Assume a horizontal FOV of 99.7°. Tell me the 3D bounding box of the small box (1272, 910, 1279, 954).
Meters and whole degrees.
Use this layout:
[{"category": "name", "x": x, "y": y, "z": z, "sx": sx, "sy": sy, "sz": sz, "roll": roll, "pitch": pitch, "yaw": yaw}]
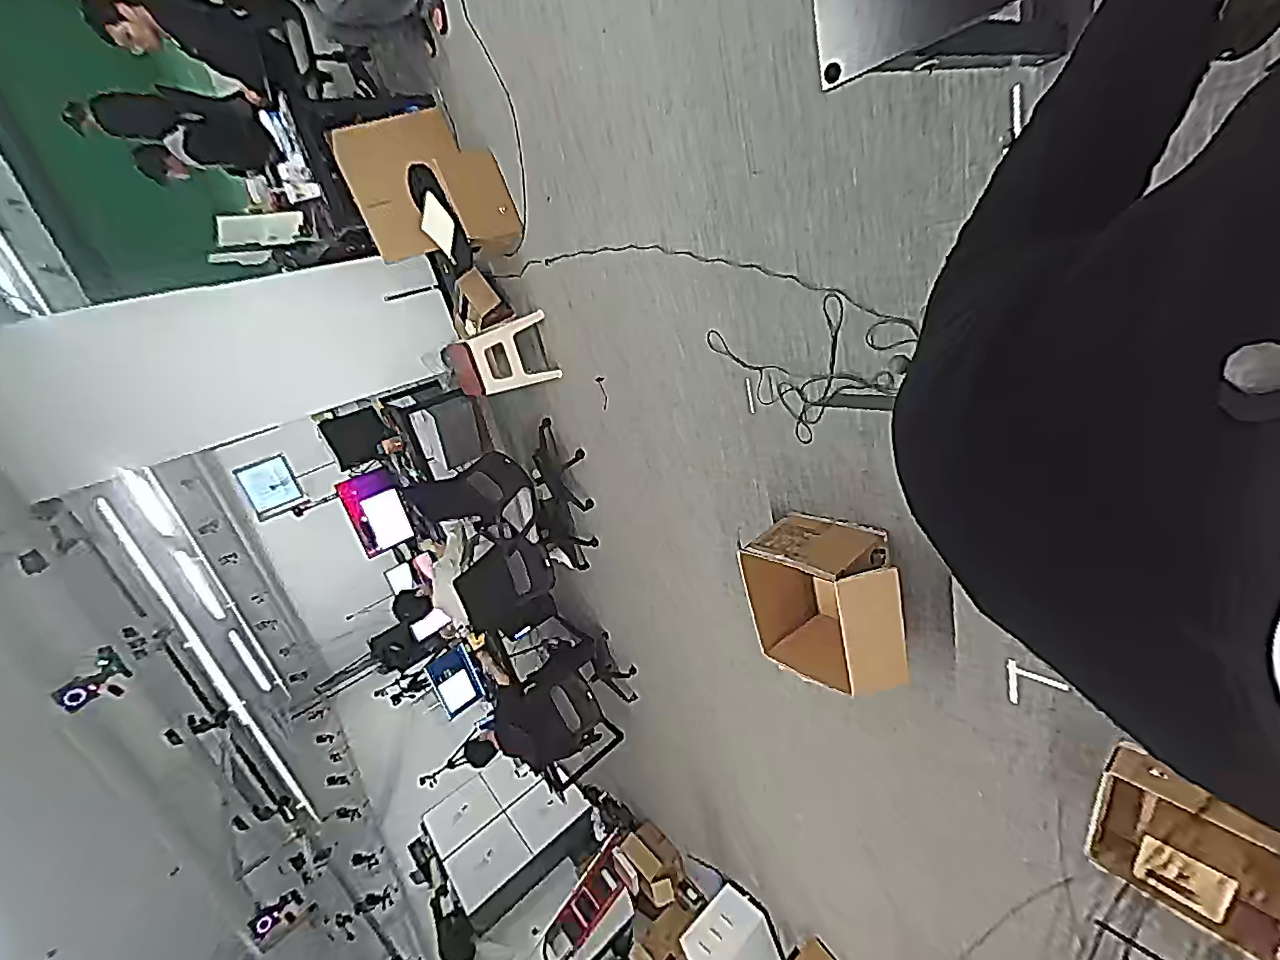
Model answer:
[{"category": "small box", "x": 1.582, "y": 1.016, "z": 1.209, "sx": 0.179, "sy": 0.176, "sz": 0.168, "roll": 20, "pitch": 128, "yaw": 49}]
